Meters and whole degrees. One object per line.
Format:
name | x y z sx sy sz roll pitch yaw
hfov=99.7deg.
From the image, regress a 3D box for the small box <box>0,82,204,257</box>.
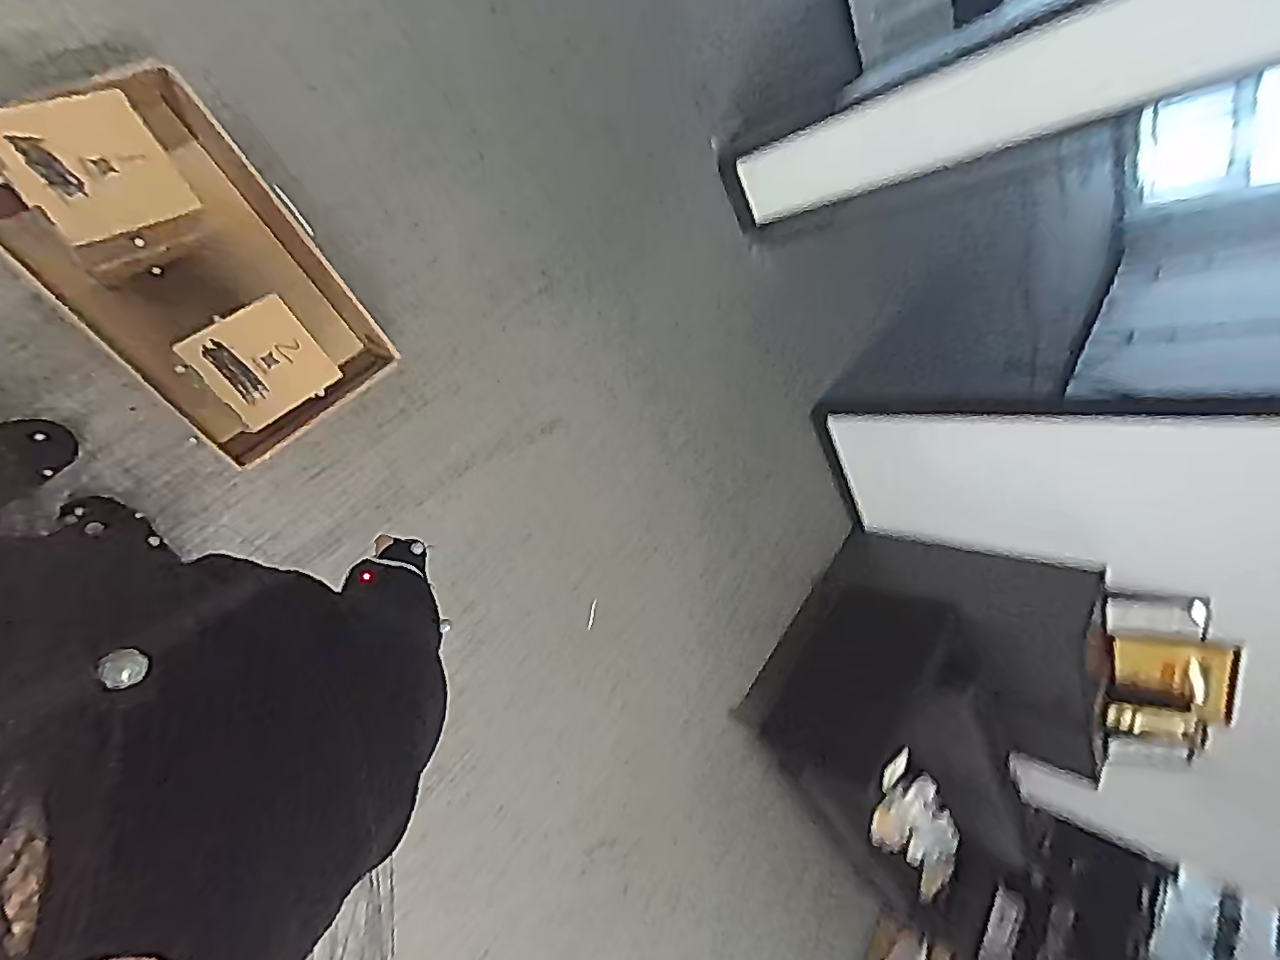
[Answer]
small box | -0.809 -0.457 0.816 0.179 0.176 0.168 -42 122 -30
